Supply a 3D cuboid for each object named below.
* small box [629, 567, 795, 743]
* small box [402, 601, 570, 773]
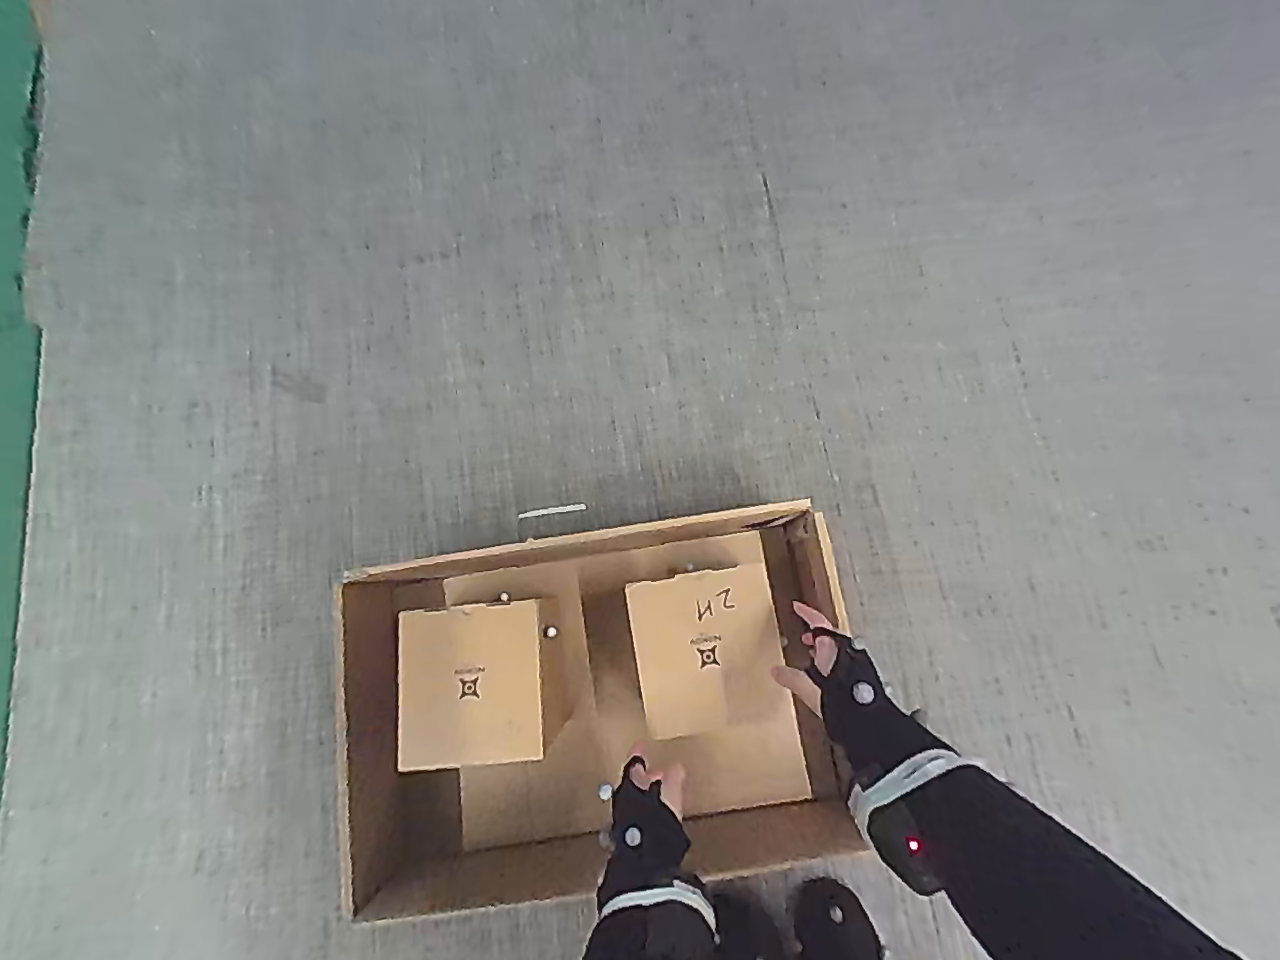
[{"bbox_3d":[0.084,0.210,0.689,0.168,0.176,0.179,-9,78,1],"label":"small box"},{"bbox_3d":[-0.187,0.253,0.696,0.168,0.176,0.179,-5,78,1],"label":"small box"}]
